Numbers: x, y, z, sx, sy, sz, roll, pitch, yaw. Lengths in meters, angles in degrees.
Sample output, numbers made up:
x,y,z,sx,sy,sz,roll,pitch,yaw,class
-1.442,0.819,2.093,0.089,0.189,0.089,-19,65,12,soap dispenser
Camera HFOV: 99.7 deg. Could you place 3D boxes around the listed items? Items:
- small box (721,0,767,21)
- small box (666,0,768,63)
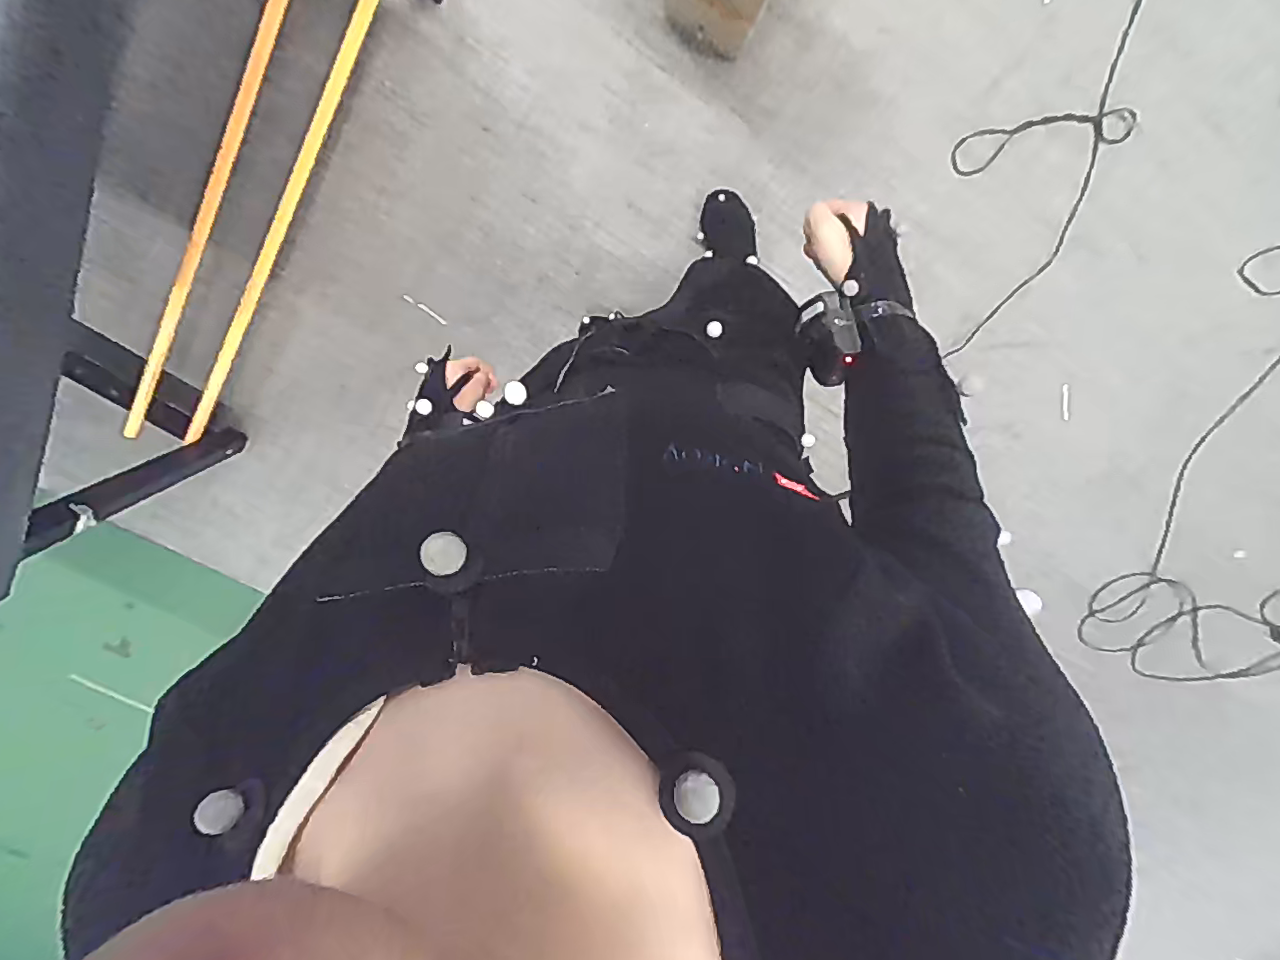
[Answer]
x,y,z,sx,sy,sz,roll,pitch,yaw,class
0.158,-0.835,0.790,0.168,0.176,0.179,27,109,-11,small box
0.152,-0.889,0.945,0.168,0.176,0.179,27,111,-10,small box
